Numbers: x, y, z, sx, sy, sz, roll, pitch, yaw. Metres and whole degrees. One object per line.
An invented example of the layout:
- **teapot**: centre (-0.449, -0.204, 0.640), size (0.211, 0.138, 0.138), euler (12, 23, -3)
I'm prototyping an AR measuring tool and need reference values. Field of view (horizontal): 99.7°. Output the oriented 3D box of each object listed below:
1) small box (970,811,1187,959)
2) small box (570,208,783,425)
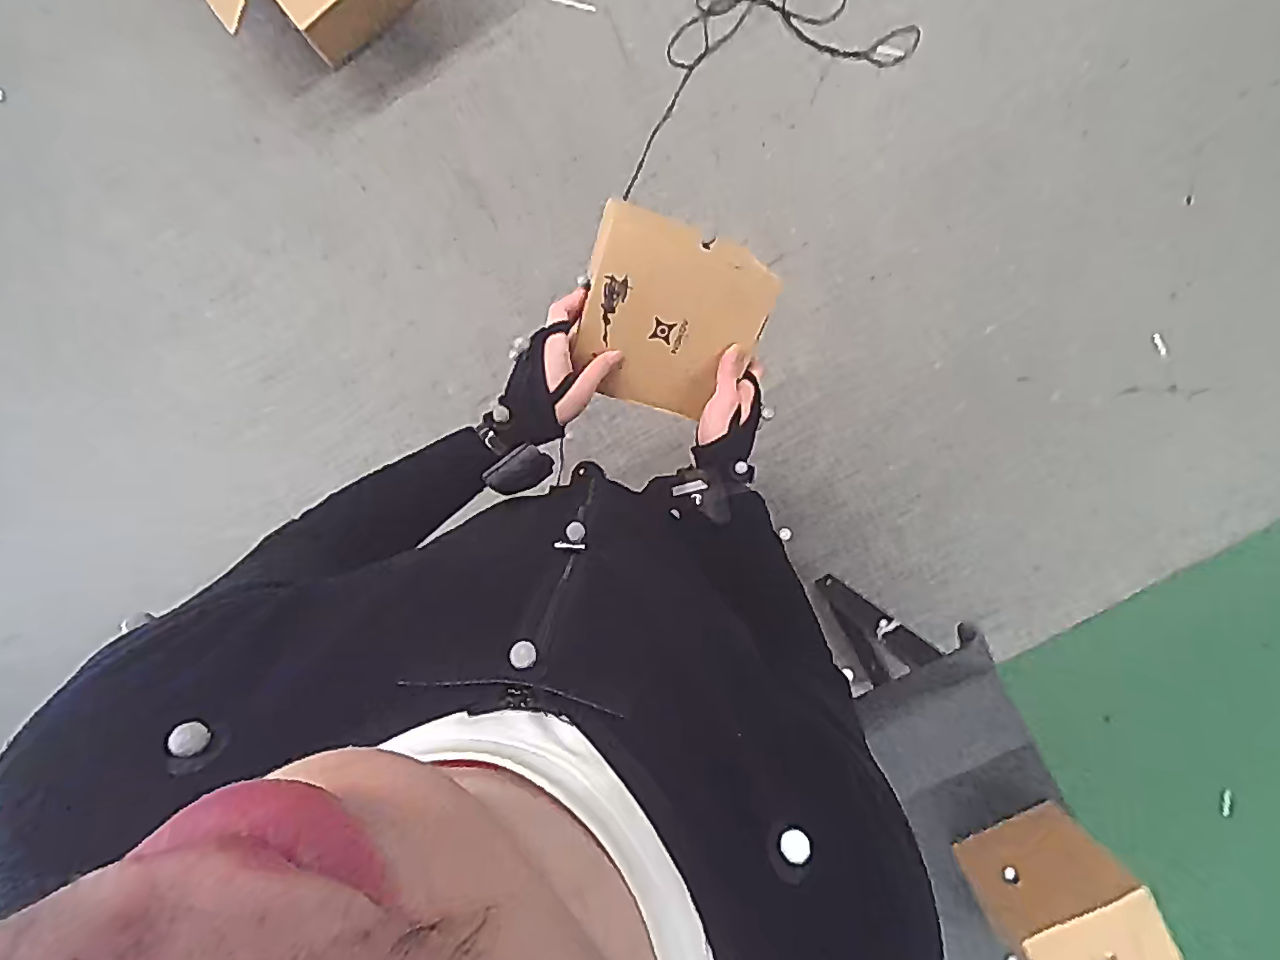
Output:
- **small box**: centre (0.610, 0.623, 0.768), size (0.179, 0.176, 0.168), euler (-26, 95, 3)
- **small box**: centre (0.028, -0.189, 0.611), size (0.179, 0.176, 0.168), euler (14, 121, -14)
